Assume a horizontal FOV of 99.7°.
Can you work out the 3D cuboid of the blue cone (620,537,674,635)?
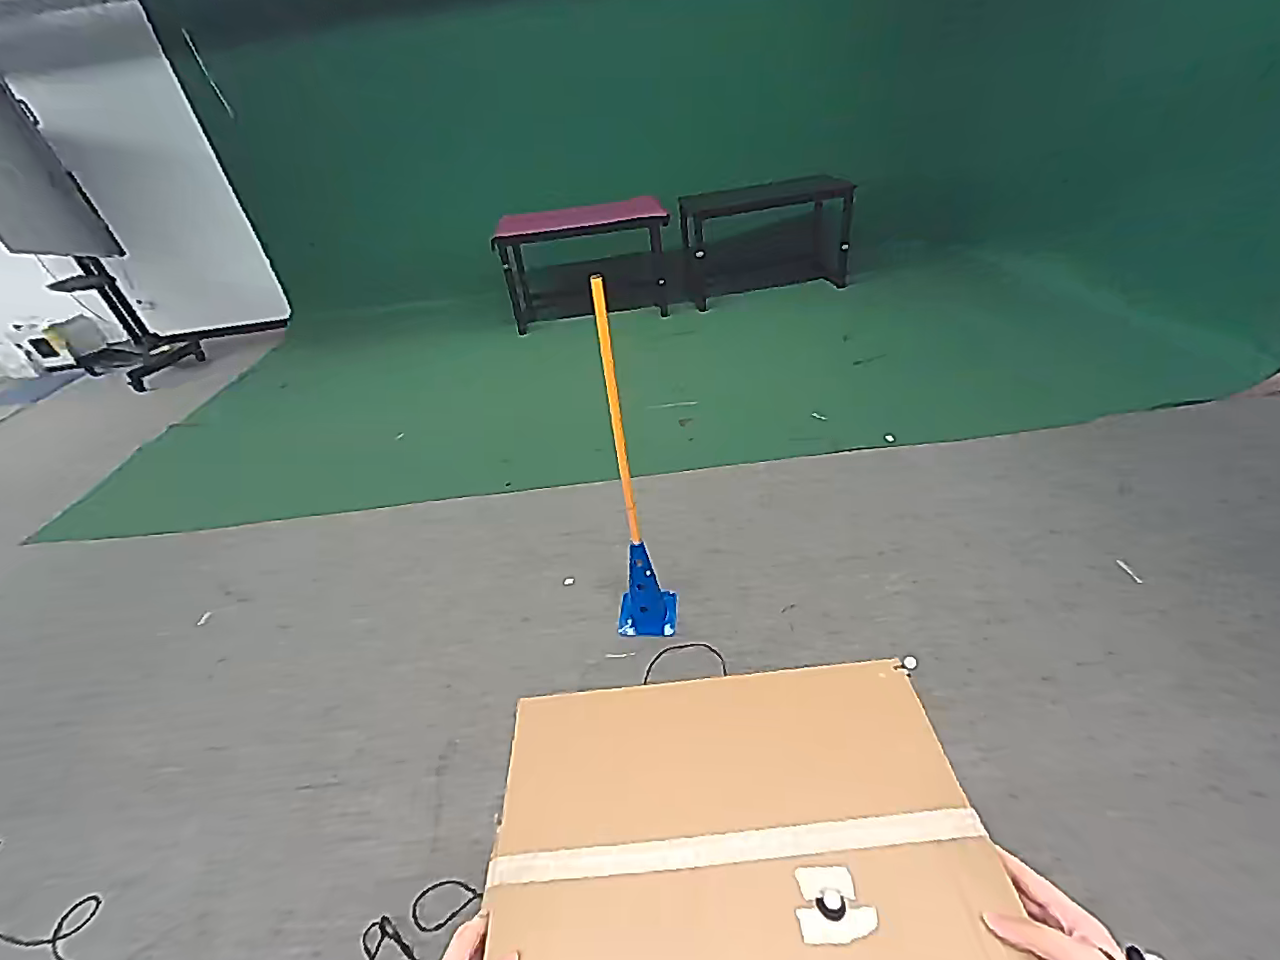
[{"bbox_3d":[0.007,0.353,1.860,0.193,0.380,0.192,-1,36,9],"label":"blue cone"}]

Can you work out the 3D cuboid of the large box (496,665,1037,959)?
[{"bbox_3d":[0.095,0.429,0.547,0.408,0.320,0.320,-6,38,1],"label":"large box"}]
